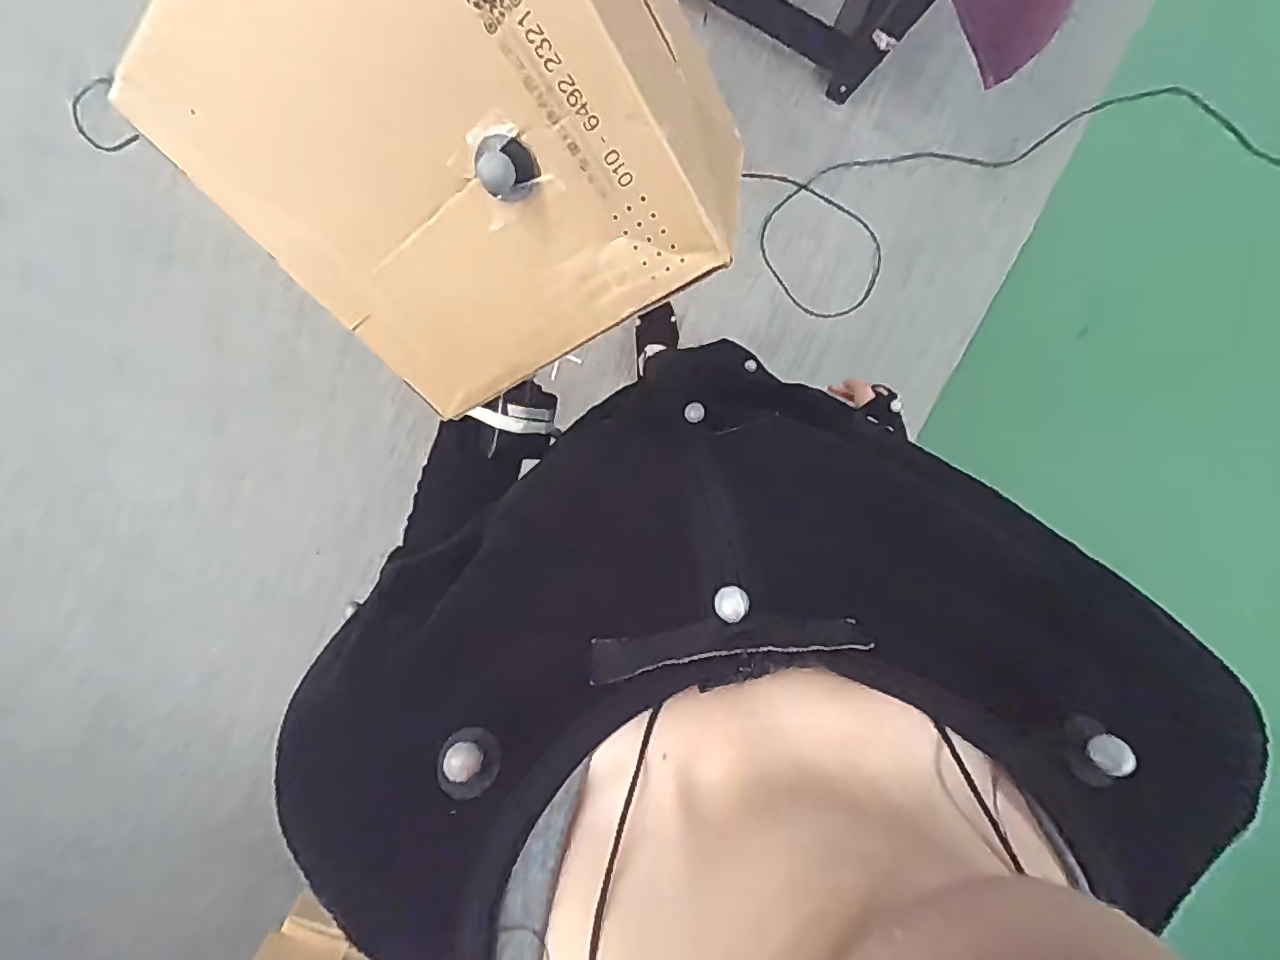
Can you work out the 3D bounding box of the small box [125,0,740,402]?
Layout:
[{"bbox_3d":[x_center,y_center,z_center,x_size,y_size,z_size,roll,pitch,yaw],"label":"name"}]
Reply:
[{"bbox_3d":[-0.062,-0.174,0.254,0.176,0.179,0.168,-22,126,30],"label":"small box"}]

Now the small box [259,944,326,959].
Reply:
[{"bbox_3d":[-0.788,1.156,1.159,0.179,0.176,0.168,27,97,-8],"label":"small box"}]
